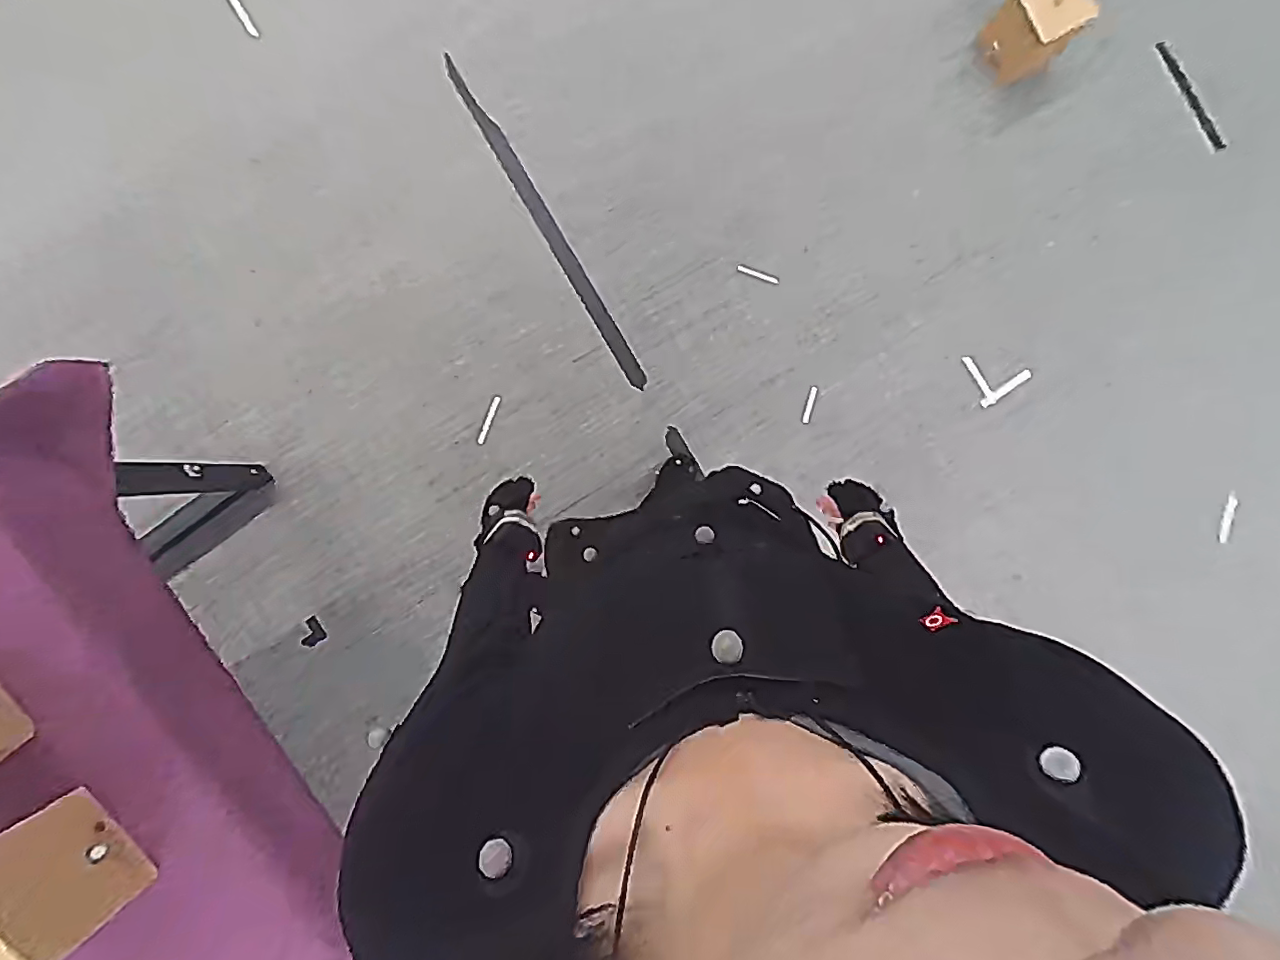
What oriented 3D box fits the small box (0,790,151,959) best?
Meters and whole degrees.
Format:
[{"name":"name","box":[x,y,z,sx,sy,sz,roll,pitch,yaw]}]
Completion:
[{"name":"small box","box":[-0.784,0.539,0.667,0.179,0.176,0.168,-39,93,-2]}]

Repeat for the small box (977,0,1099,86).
[{"name":"small box","box":[1.079,-1.242,1.481,0.179,0.176,0.168,-29,90,-1]}]

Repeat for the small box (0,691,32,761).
[{"name":"small box","box":[-0.940,0.326,0.657,0.168,0.176,0.179,-38,92,-2]}]
